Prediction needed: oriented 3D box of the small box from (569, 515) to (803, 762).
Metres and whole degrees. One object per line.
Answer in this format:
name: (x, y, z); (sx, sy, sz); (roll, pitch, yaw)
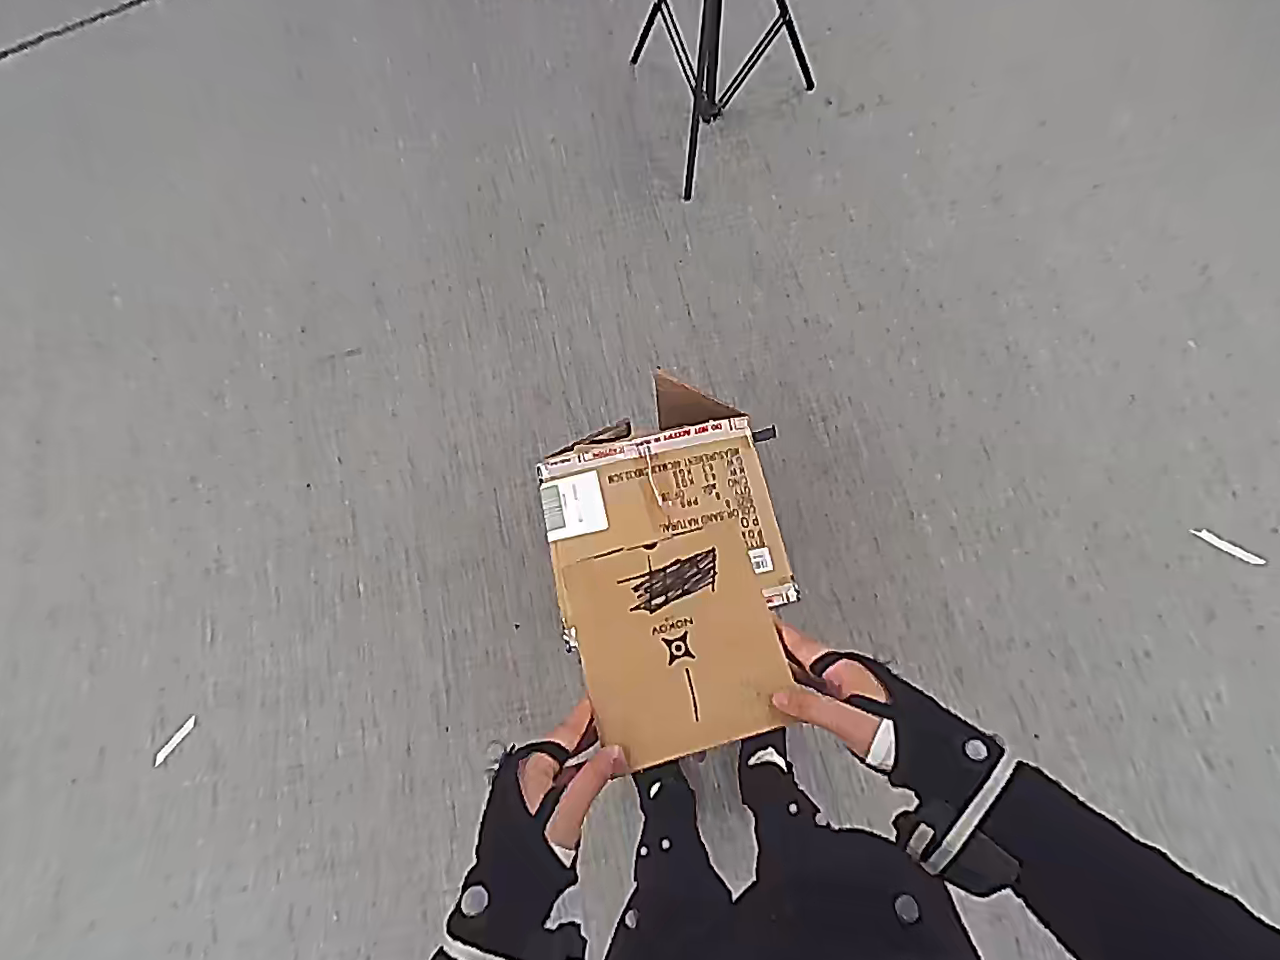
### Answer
small box: (0.036, 0.159, 0.538); (0.168, 0.176, 0.179); (-16, 68, -3)
